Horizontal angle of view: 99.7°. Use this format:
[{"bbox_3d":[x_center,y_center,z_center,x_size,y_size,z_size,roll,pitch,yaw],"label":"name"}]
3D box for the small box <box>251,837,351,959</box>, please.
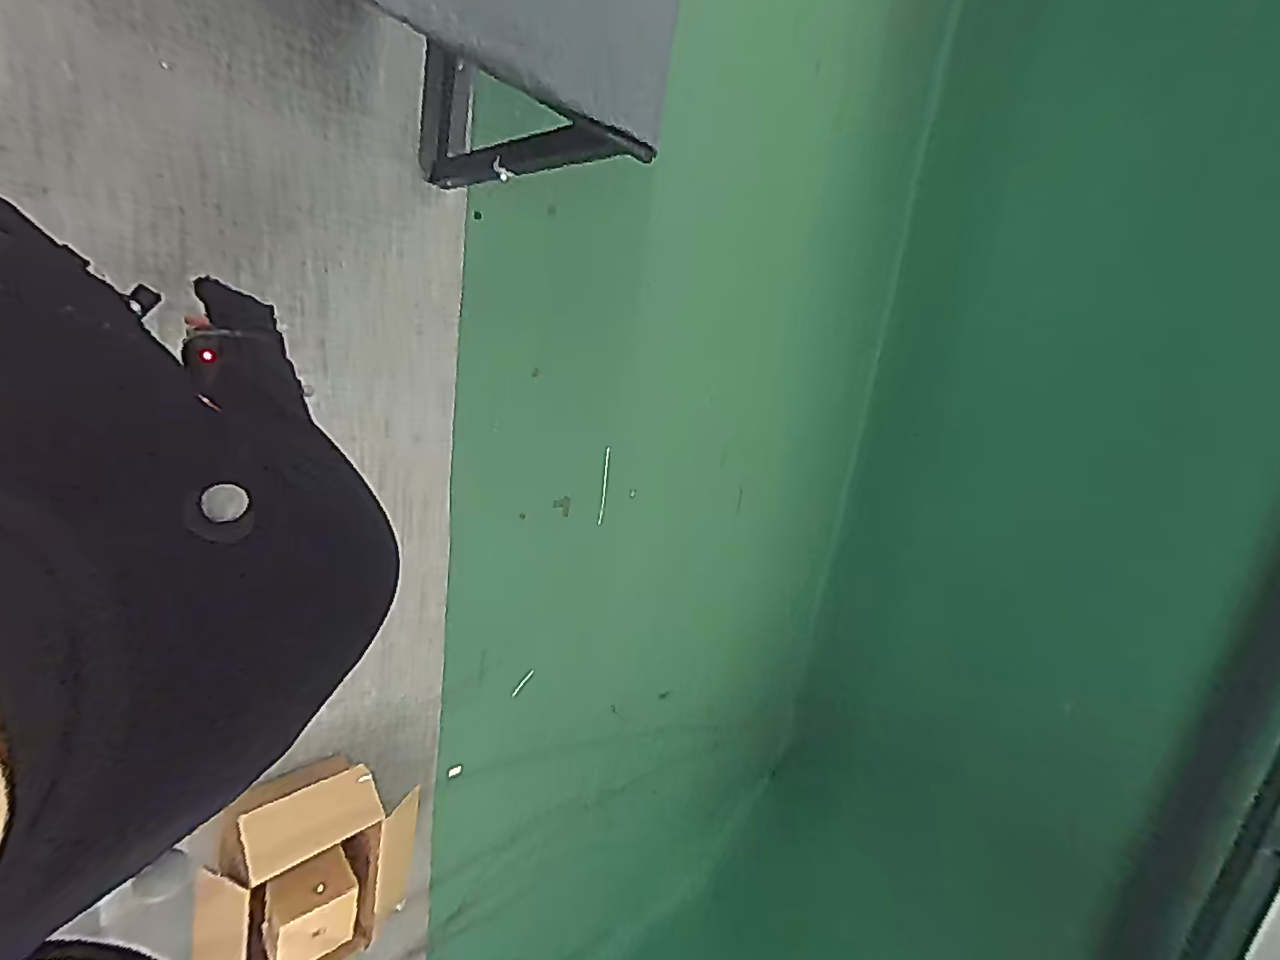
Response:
[{"bbox_3d":[-0.862,1.063,1.369,0.179,0.176,0.168,-1,106,-48],"label":"small box"}]
